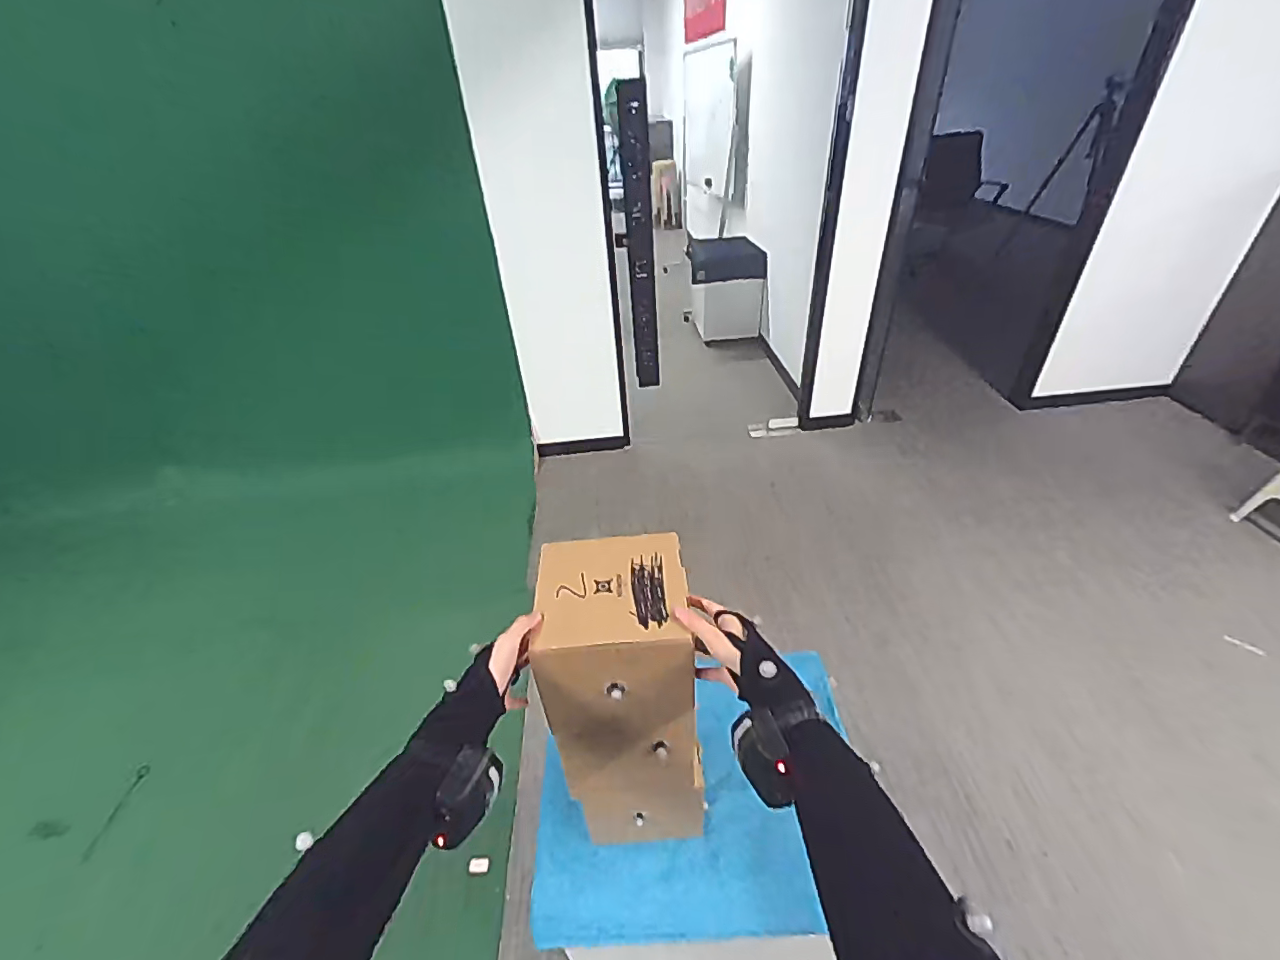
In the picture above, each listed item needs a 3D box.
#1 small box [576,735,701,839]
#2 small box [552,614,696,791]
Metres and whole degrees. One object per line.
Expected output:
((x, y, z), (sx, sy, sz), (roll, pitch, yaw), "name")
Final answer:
((-0.002, 0.441, 0.856), (0.179, 0.176, 0.168), (-5, 36, 0), "small box")
((-0.020, 0.310, 0.758), (0.179, 0.176, 0.168), (-4, 35, -1), "small box")
